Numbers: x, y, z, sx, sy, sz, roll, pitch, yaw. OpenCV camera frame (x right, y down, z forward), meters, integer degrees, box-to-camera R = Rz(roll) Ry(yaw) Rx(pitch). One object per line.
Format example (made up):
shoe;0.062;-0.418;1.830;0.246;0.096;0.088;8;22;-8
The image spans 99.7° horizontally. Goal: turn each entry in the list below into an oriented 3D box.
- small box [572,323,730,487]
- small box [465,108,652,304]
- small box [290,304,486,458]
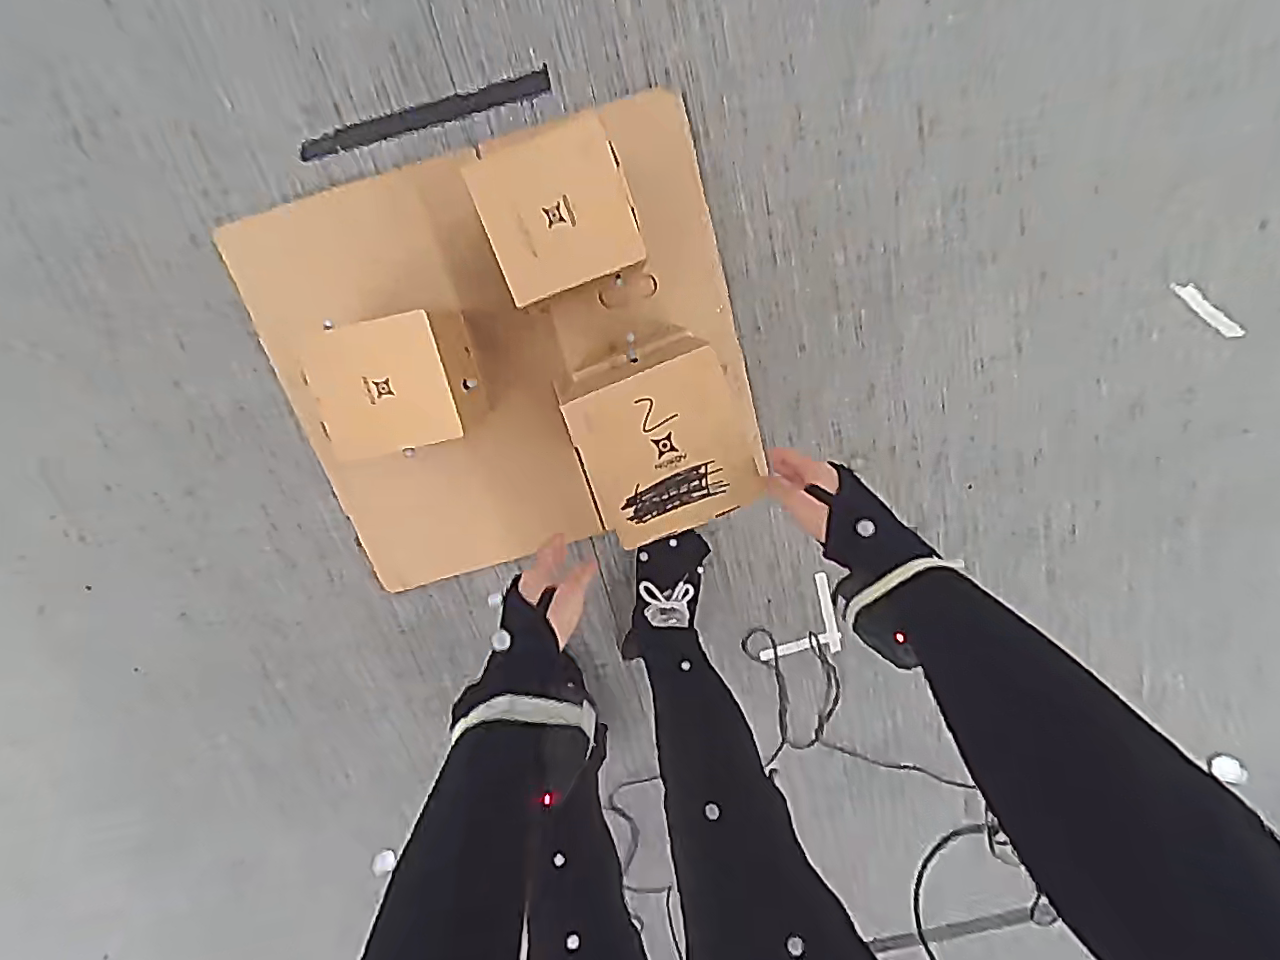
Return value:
small box;0.015;-0.116;0.779;0.168;0.176;0.179;-20;107;3
small box;-0.097;-0.340;0.706;0.179;0.176;0.168;-20;106;4
small box;-0.327;-0.146;0.751;0.179;0.176;0.168;-12;108;2
